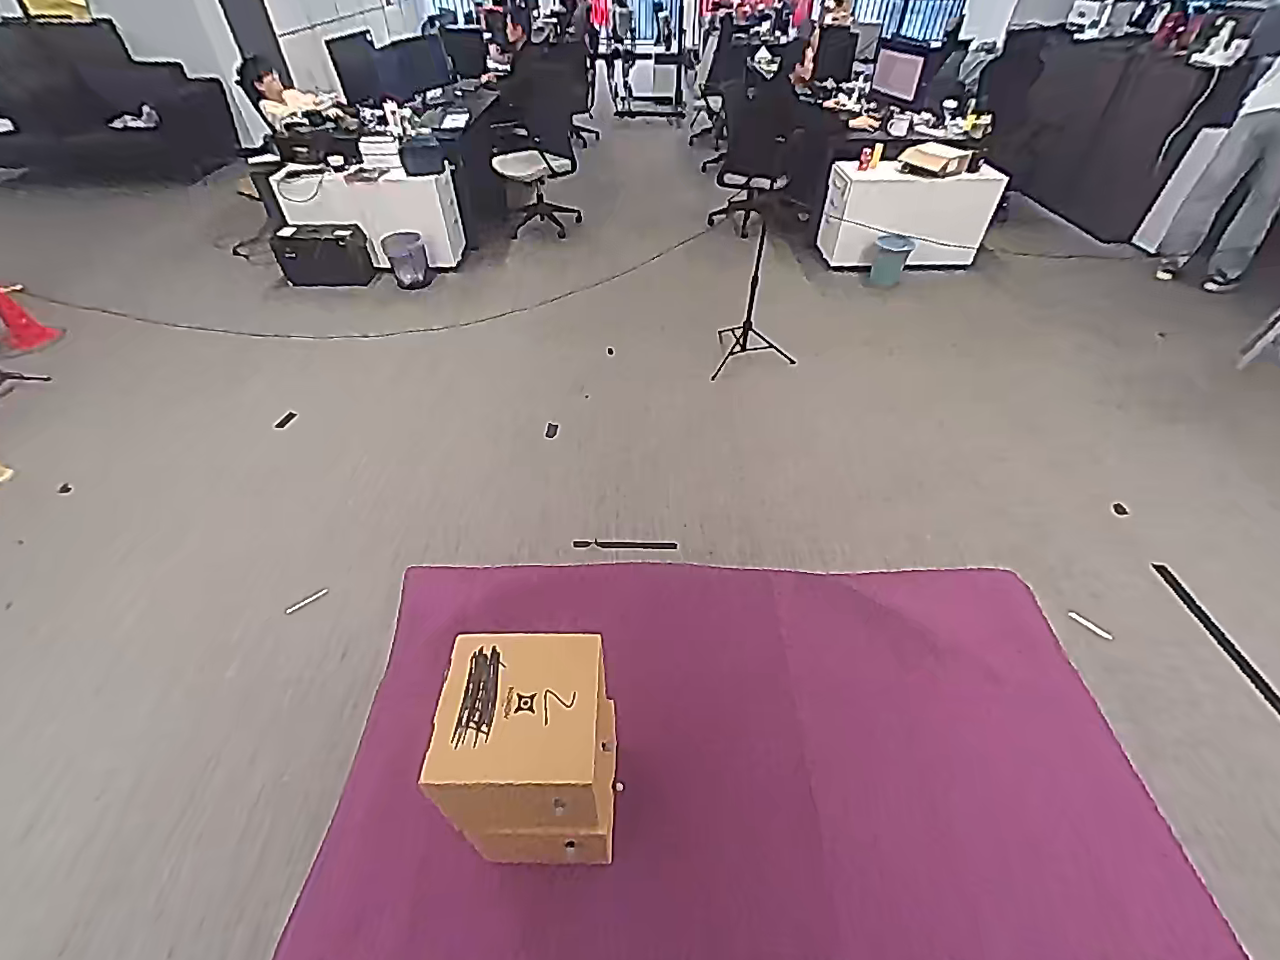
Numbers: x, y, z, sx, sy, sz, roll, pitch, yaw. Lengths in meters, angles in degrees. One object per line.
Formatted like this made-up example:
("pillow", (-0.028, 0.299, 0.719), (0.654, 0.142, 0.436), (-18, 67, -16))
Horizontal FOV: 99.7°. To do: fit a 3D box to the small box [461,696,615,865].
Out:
("small box", (-0.126, 0.419, 0.753), (0.179, 0.176, 0.168), (1, 44, 0))
